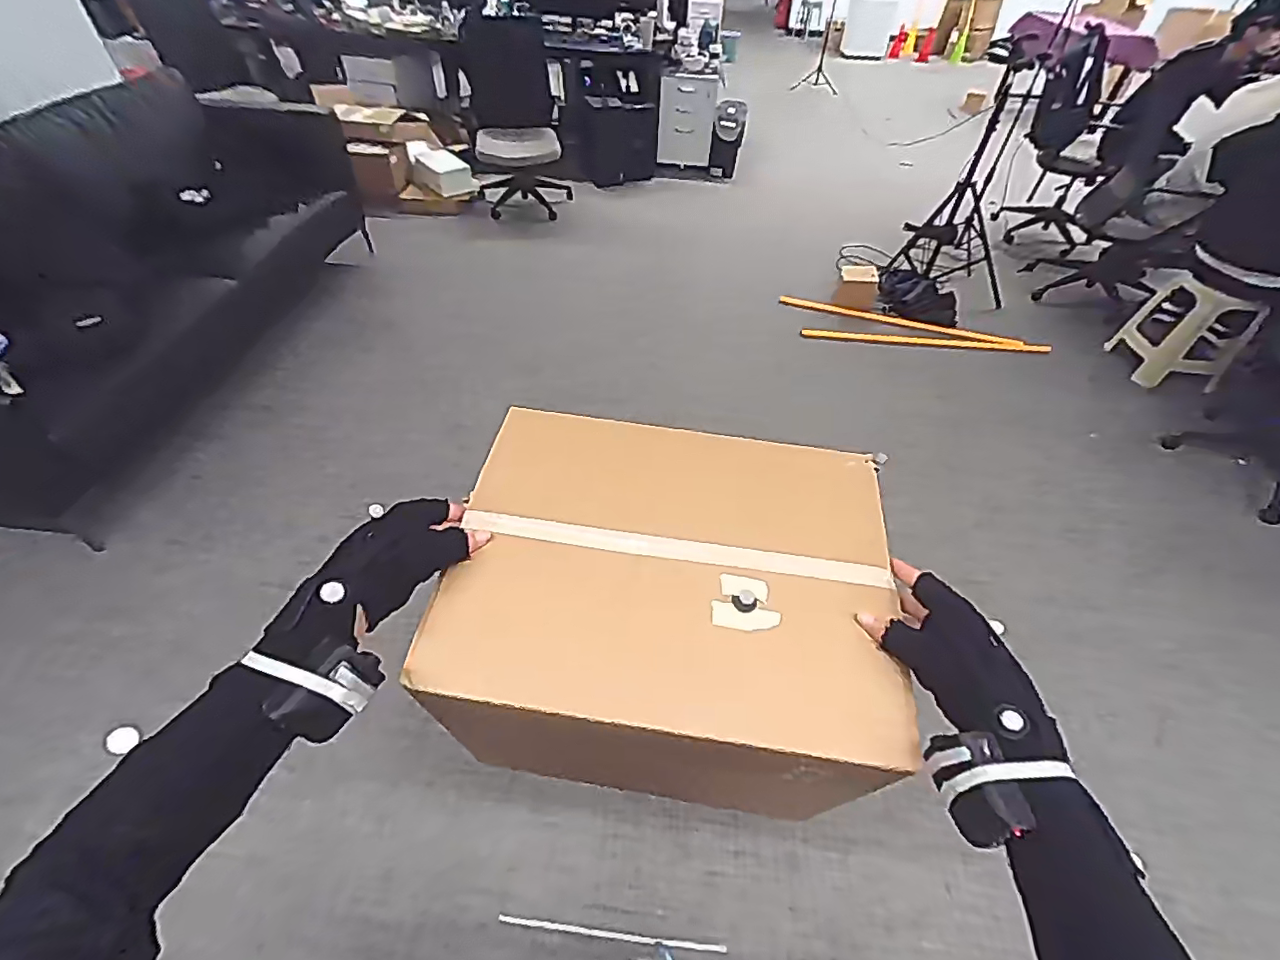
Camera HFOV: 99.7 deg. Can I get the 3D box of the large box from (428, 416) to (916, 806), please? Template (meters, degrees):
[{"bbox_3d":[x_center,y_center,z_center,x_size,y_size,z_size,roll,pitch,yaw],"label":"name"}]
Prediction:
[{"bbox_3d":[0.031,0.160,0.637,0.408,0.320,0.320,8,53,2],"label":"large box"}]
